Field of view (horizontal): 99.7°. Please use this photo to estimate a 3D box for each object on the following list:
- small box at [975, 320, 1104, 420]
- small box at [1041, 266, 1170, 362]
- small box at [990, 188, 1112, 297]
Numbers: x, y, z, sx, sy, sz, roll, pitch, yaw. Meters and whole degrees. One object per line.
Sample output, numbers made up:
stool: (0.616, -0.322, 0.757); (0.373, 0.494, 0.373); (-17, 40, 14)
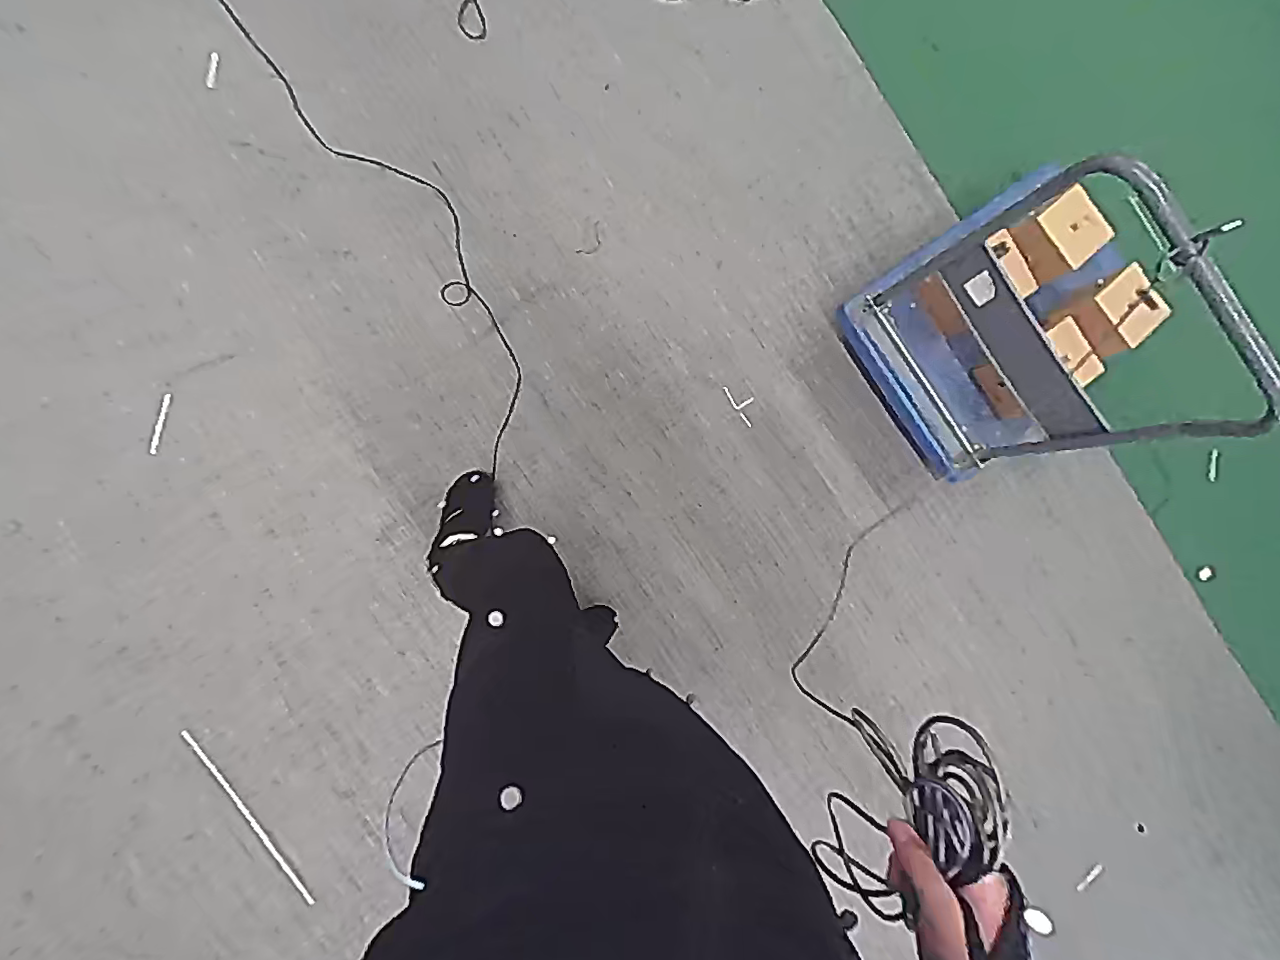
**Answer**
small box: (1.026, -0.278, 1.401); (0.179, 0.176, 0.168); (-34, 91, -11)
small box: (1.243, -0.430, 1.456); (0.179, 0.176, 0.168); (-39, 91, -11)
small box: (1.085, -0.626, 1.448); (0.179, 0.176, 0.168); (-39, 92, -12)
